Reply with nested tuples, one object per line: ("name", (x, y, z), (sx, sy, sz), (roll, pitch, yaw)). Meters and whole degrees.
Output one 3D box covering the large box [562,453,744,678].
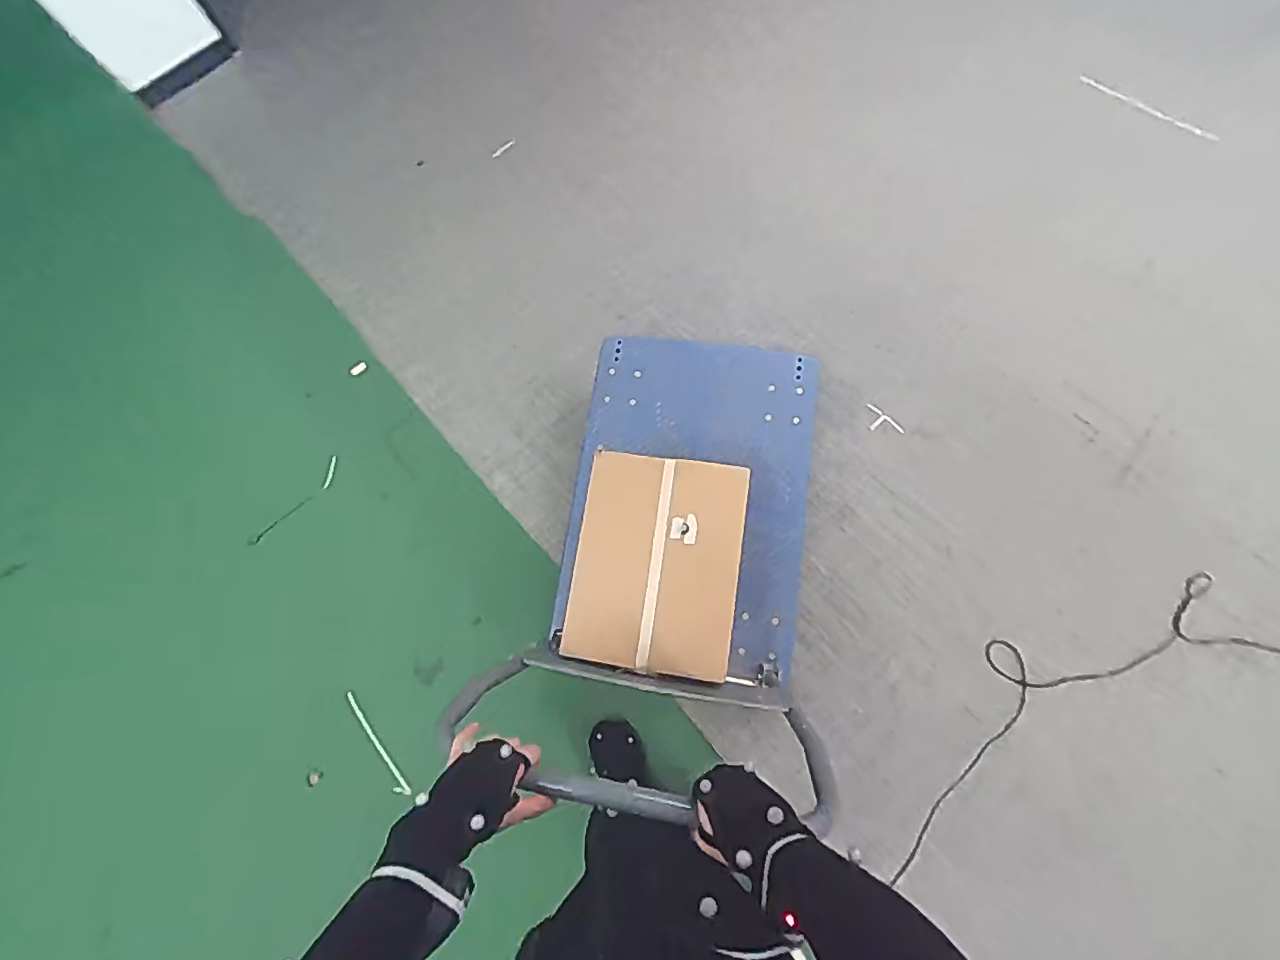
("large box", (0.046, 0.189, 1.182), (0.320, 0.320, 0.408), (7, 77, 8))
